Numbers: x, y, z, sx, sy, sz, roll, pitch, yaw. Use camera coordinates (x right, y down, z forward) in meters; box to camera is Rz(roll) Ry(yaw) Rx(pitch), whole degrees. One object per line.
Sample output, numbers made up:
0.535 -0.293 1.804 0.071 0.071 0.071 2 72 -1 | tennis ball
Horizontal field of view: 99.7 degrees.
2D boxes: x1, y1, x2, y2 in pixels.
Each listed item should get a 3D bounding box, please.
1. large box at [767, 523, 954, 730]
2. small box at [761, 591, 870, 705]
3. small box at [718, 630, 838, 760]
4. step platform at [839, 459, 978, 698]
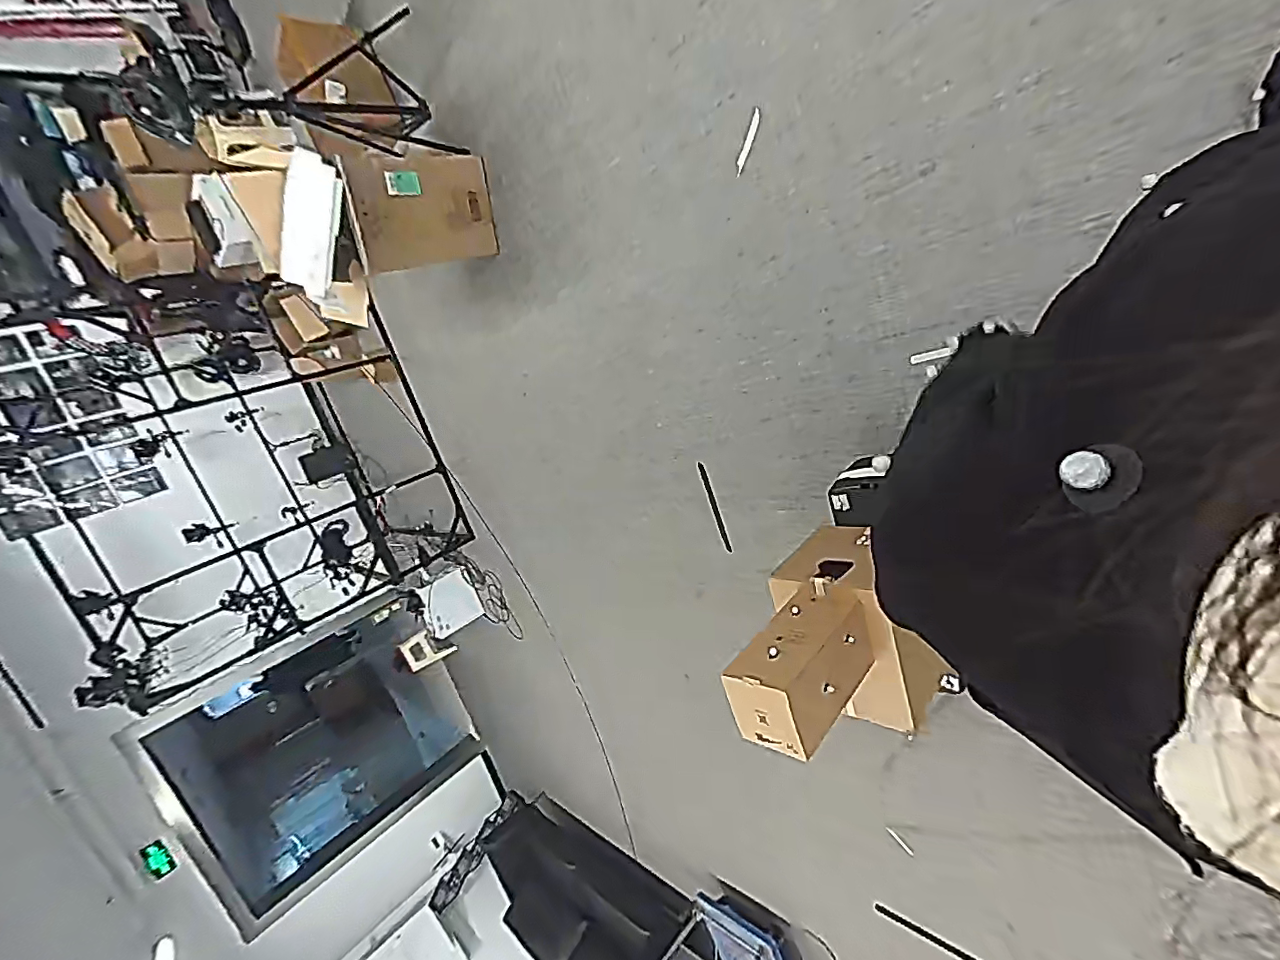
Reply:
0.594 0.357 1.436 0.320 0.320 0.408 -1 113 49 | large box
0.411 0.380 1.257 0.168 0.176 0.179 -1 113 48 | small box
0.299 0.447 1.158 0.168 0.176 0.179 -2 111 49 | small box
0.782 0.291 1.571 0.286 0.204 0.684 5 118 46 | step platform
